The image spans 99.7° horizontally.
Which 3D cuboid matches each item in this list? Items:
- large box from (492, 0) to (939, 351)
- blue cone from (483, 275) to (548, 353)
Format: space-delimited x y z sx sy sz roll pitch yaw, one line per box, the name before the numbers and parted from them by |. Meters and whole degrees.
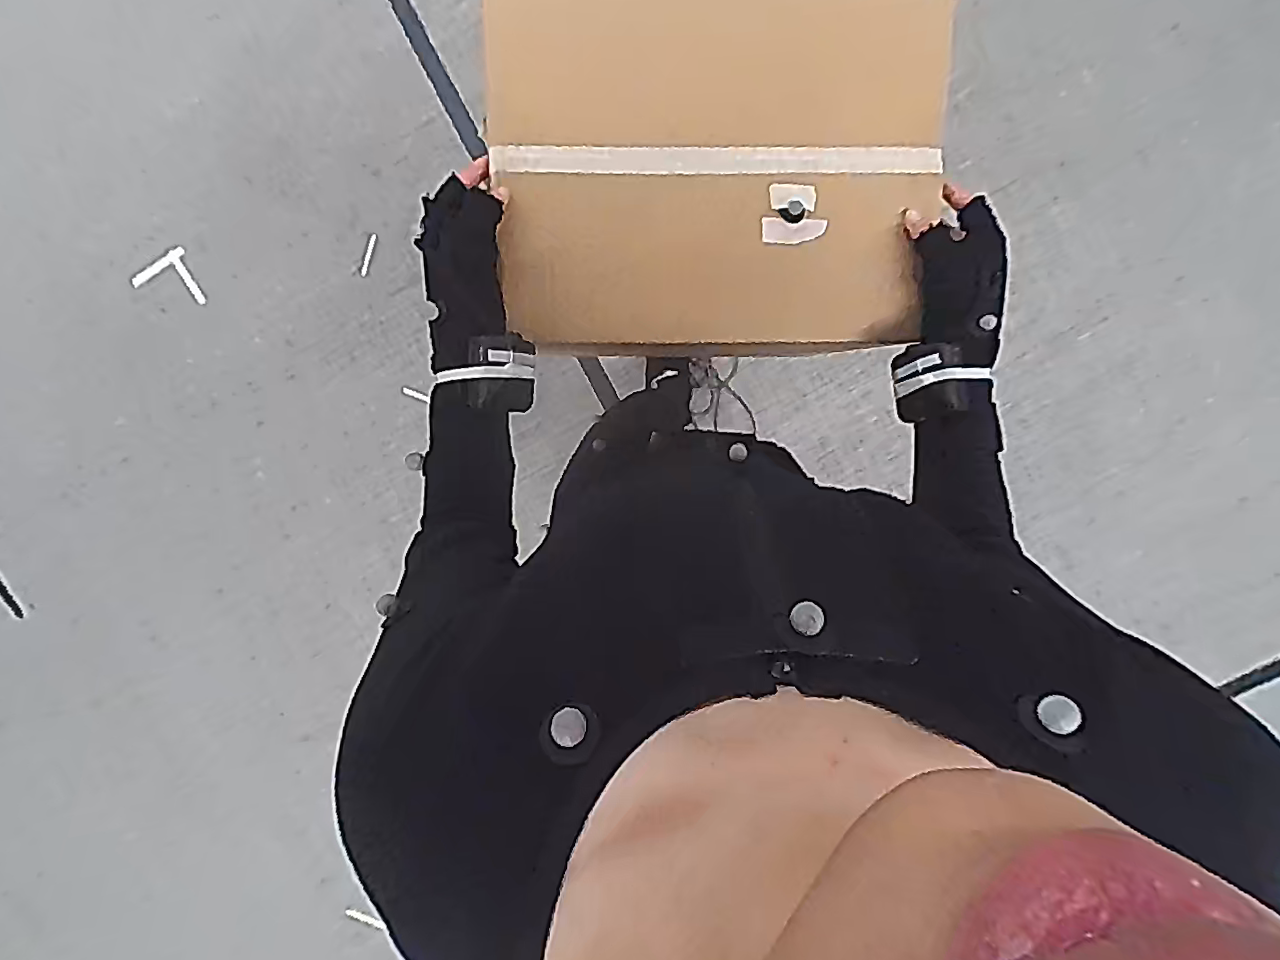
large box | 0.063 -0.324 0.641 0.408 0.320 0.320 0 101 -2
blue cone | -0.294 -0.430 1.283 0.193 0.380 0.192 -7 96 4
